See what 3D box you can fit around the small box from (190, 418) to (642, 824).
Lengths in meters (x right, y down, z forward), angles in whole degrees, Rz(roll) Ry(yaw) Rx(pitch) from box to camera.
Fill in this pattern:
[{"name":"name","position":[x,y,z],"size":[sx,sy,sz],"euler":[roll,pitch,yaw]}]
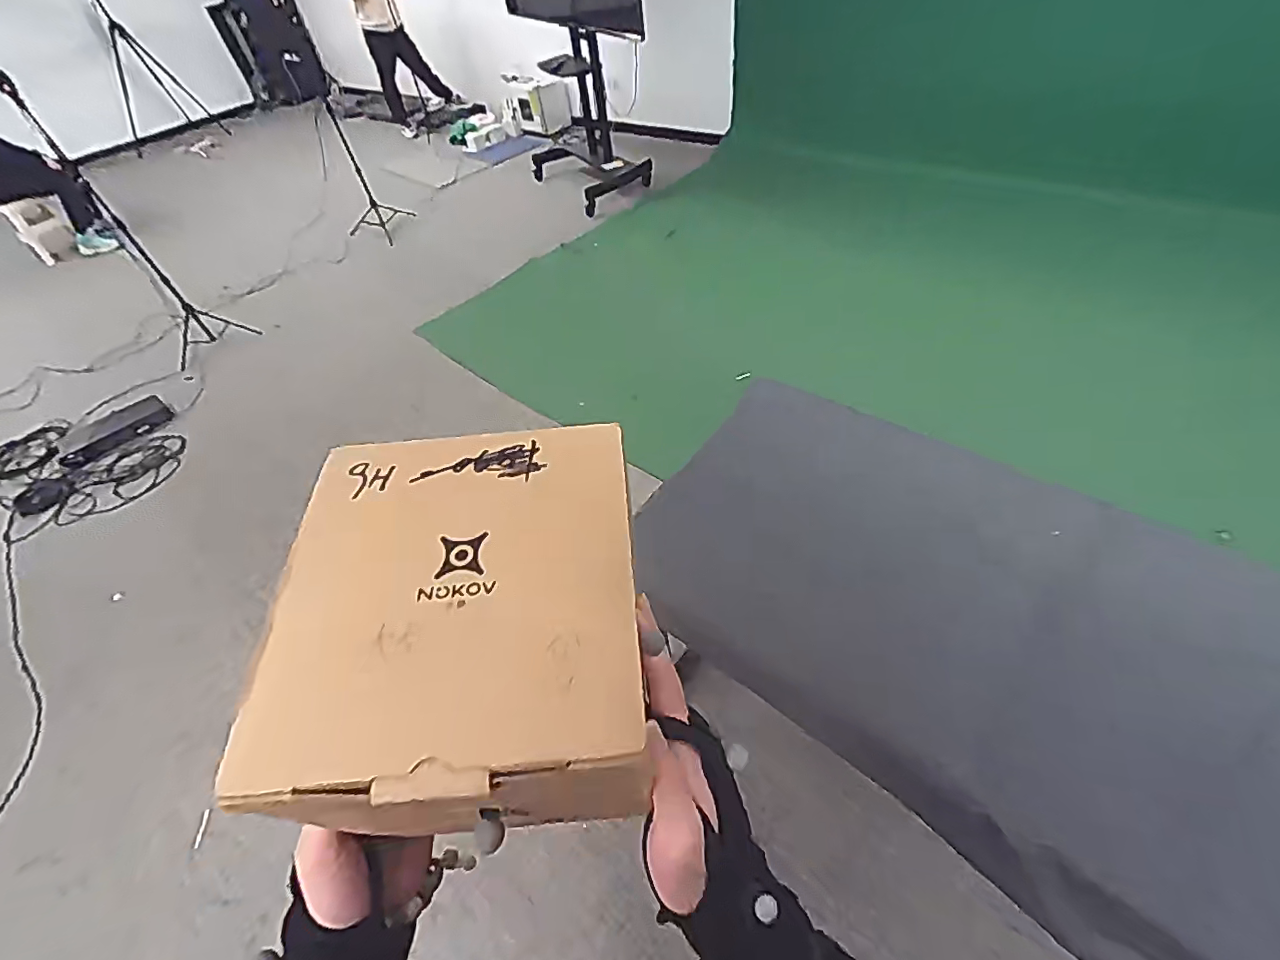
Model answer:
[{"name":"small box","position":[-0.086,0.088,0.309],"size":[0.168,0.176,0.179],"euler":[-4,55,-2]}]
